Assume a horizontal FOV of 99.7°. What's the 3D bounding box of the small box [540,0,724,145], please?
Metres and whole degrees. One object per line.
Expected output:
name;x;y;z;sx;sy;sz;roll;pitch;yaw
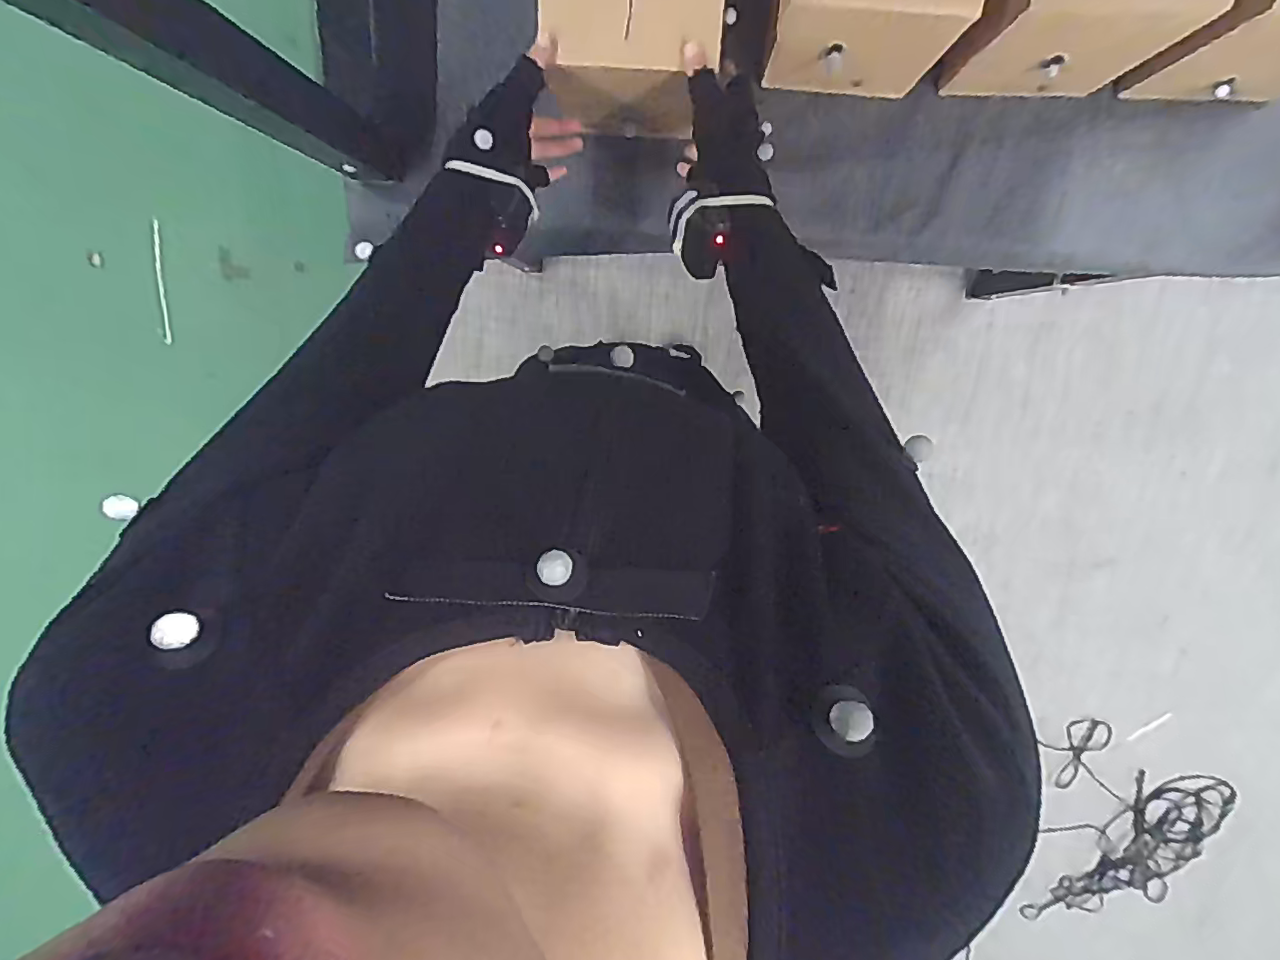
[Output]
small box;-0.003;-0.474;0.553;0.168;0.176;0.179;4;105;2
